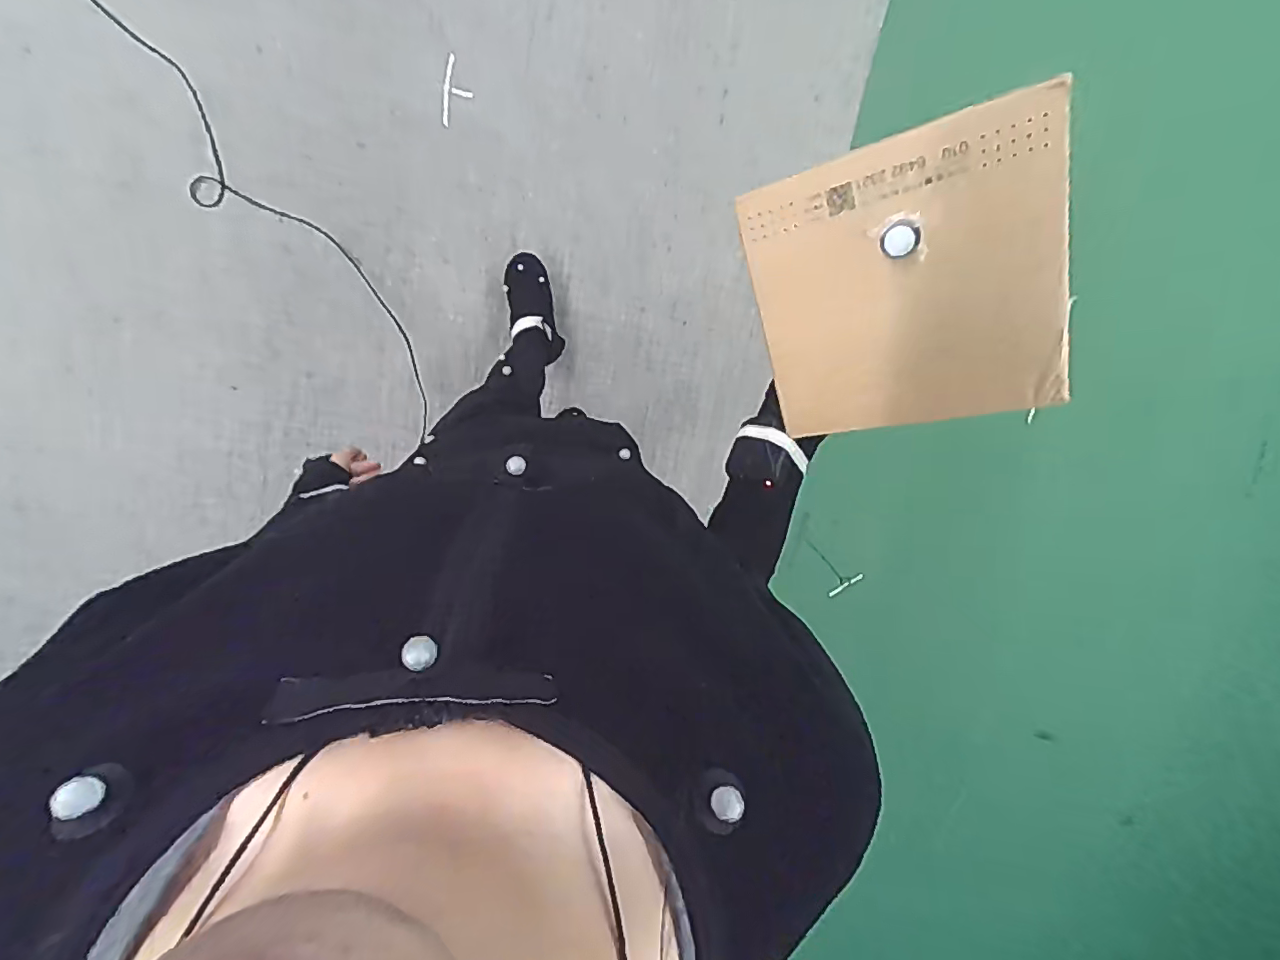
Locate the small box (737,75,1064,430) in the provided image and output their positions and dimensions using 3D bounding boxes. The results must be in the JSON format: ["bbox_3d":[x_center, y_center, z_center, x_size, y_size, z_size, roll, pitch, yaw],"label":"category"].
[{"bbox_3d":[0.184,-0.157,0.386,0.168,0.179,0.176,-7,117,31],"label":"small box"}]
